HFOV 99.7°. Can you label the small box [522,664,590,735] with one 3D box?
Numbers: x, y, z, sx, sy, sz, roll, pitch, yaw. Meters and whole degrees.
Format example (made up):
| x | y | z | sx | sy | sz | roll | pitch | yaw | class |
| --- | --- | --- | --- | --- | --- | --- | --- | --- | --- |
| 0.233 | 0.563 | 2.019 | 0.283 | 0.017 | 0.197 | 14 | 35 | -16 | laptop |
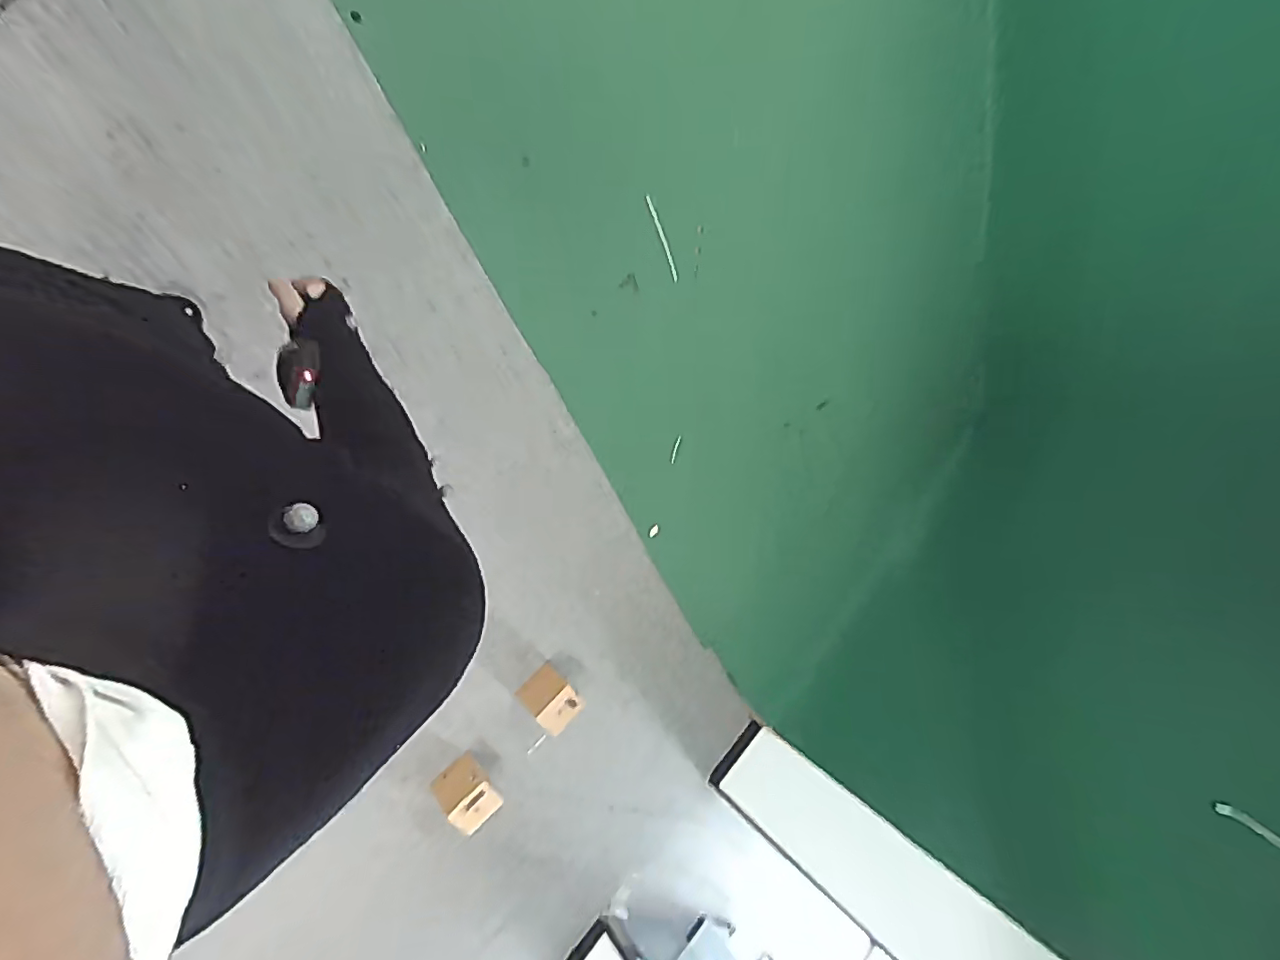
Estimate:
| x | y | z | sx | sy | sz | roll | pitch | yaw | class |
| --- | --- | --- | --- | --- | --- | --- | --- | --- | --- |
| -0.340 | 0.877 | 2.175 | 0.179 | 0.176 | 0.168 | -44 | 129 | -18 | small box |
